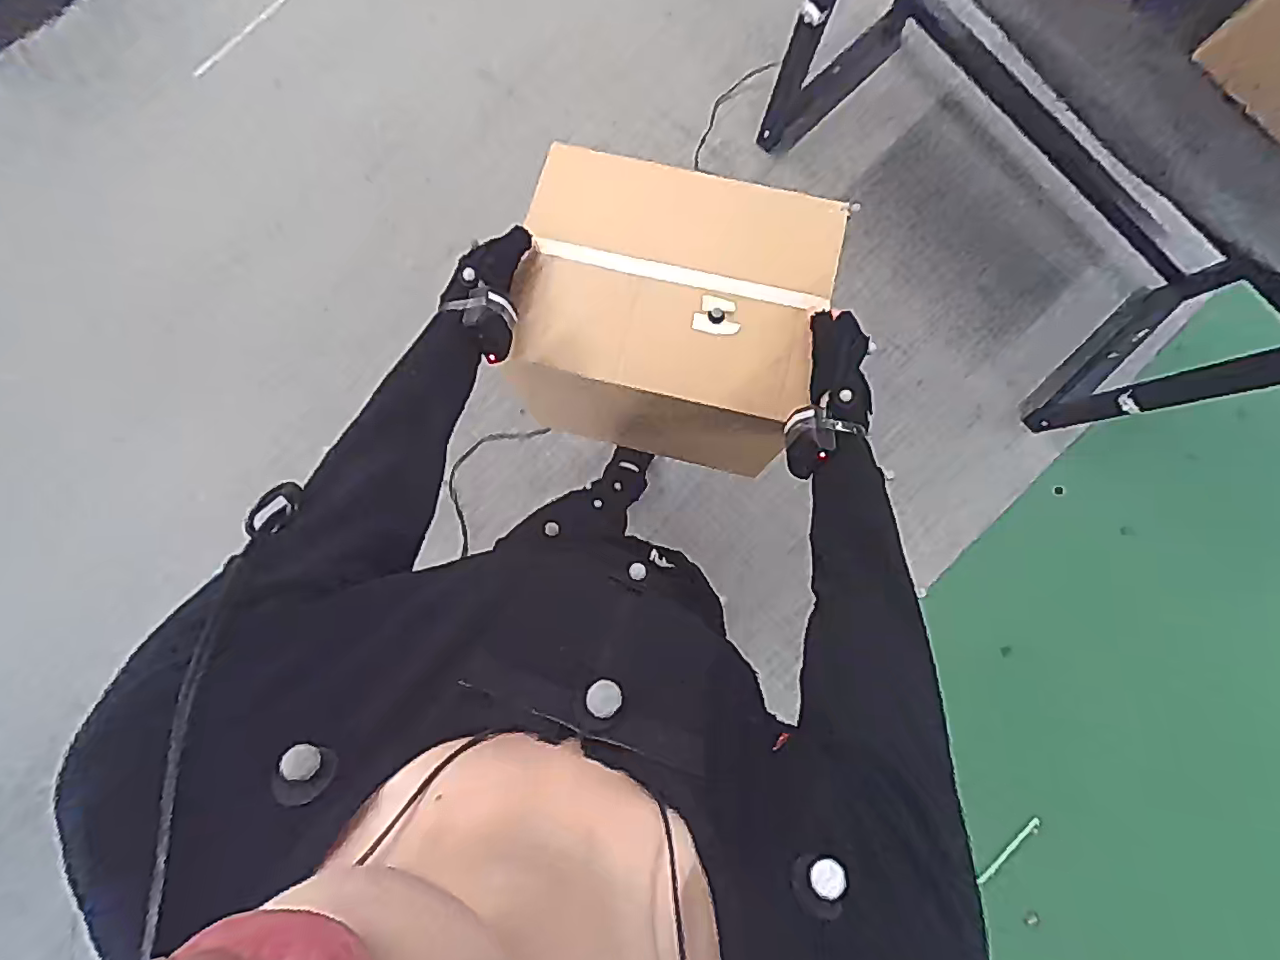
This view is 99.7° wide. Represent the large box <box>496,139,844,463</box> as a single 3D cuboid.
[{"bbox_3d":[0.041,-0.244,0.837,0.408,0.320,0.320,14,80,2],"label":"large box"}]
